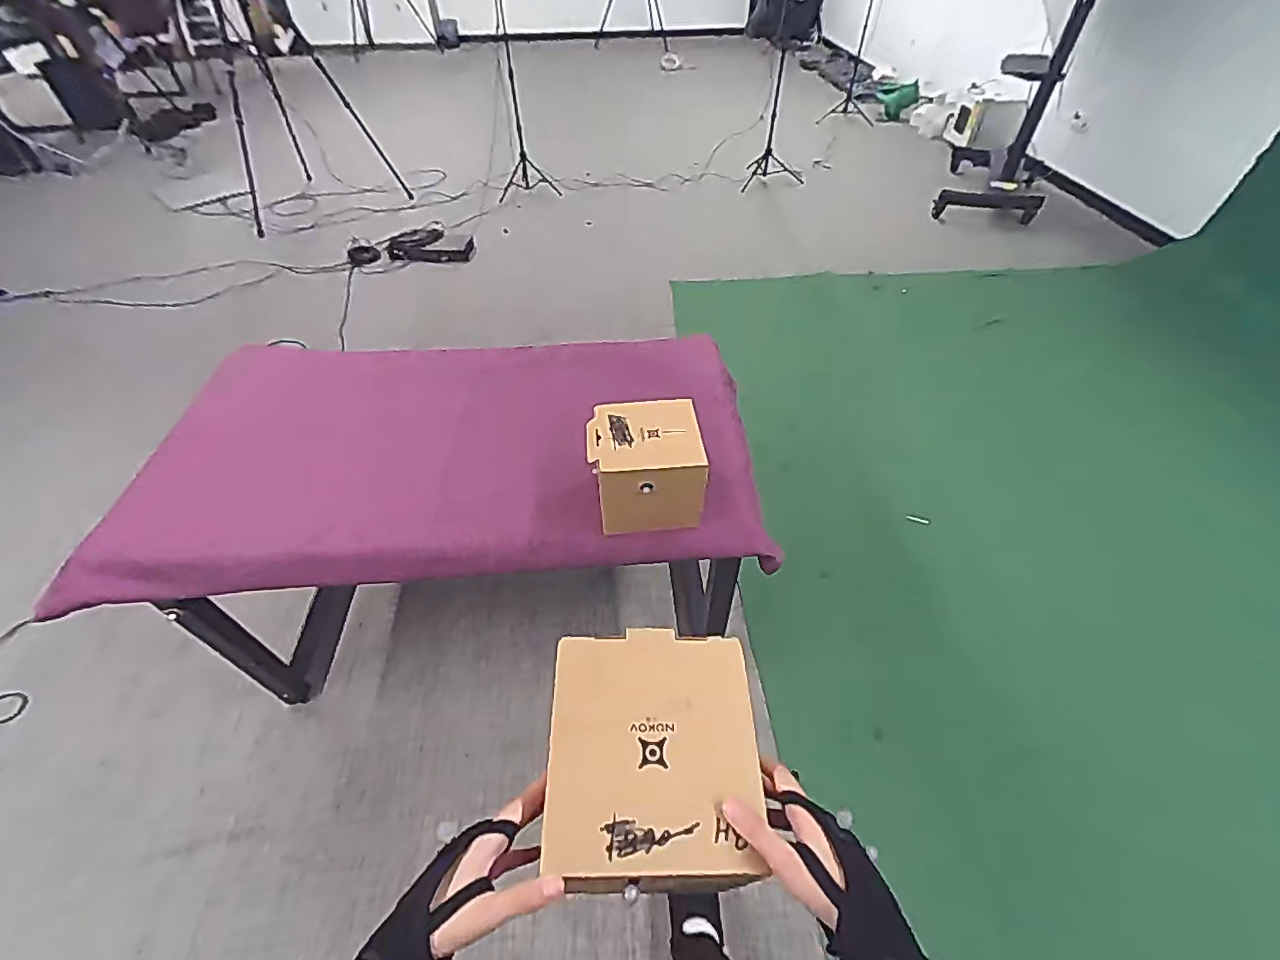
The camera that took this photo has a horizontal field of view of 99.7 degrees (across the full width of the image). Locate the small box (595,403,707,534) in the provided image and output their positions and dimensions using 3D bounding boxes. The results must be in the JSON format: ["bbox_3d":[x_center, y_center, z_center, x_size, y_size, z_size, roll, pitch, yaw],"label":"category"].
[{"bbox_3d":[0.016,-0.017,0.965,0.179,0.176,0.168,-4,48,-4],"label":"small box"}]

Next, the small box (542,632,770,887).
[{"bbox_3d":[0.007,0.257,0.495,0.168,0.176,0.179,1,50,-2],"label":"small box"}]
